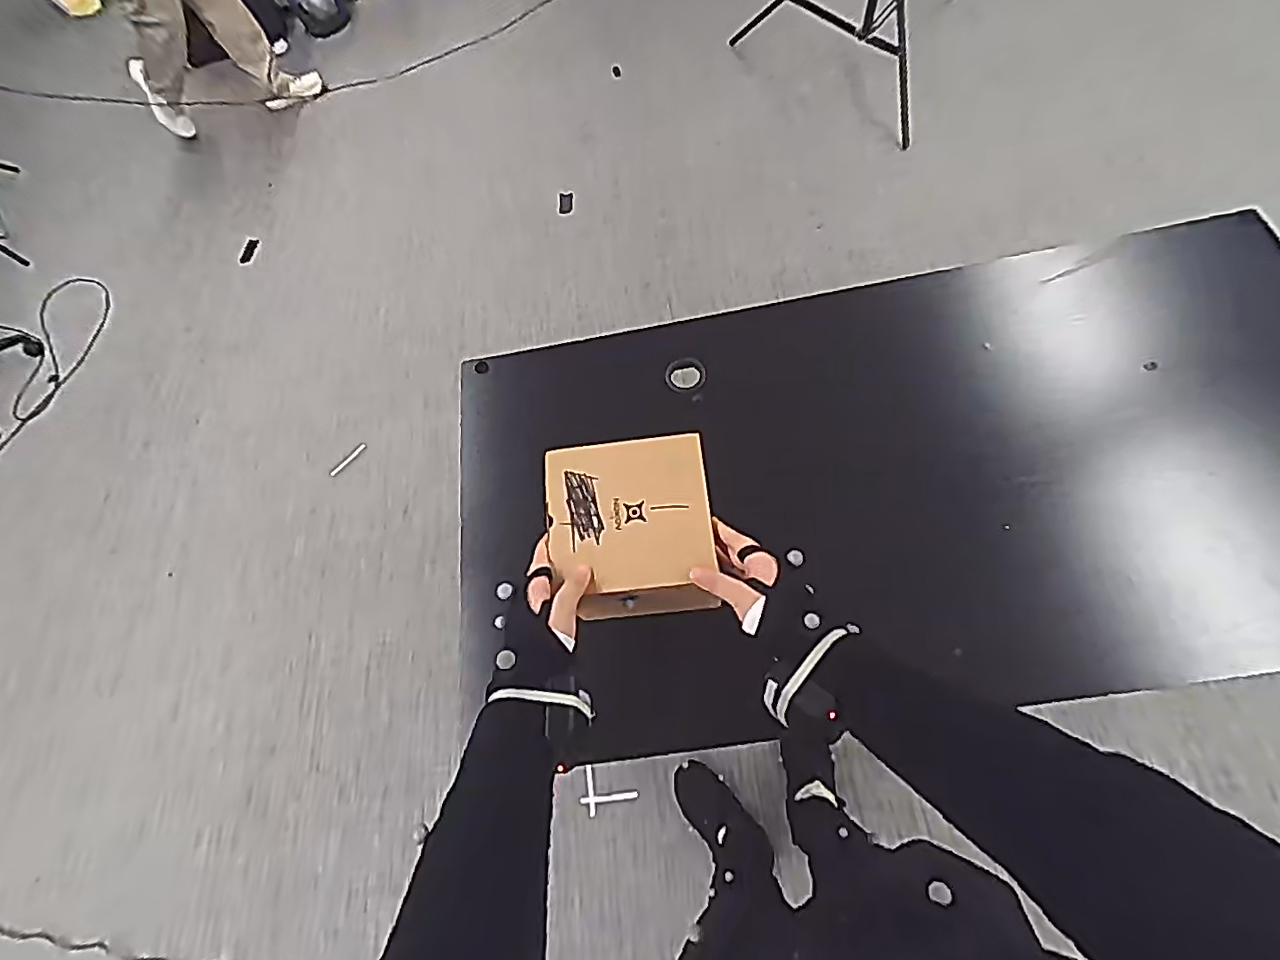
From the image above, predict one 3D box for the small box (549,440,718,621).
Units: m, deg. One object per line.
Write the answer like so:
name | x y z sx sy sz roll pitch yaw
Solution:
small box | -0.002 0.070 0.652 0.179 0.176 0.168 -7 67 5
